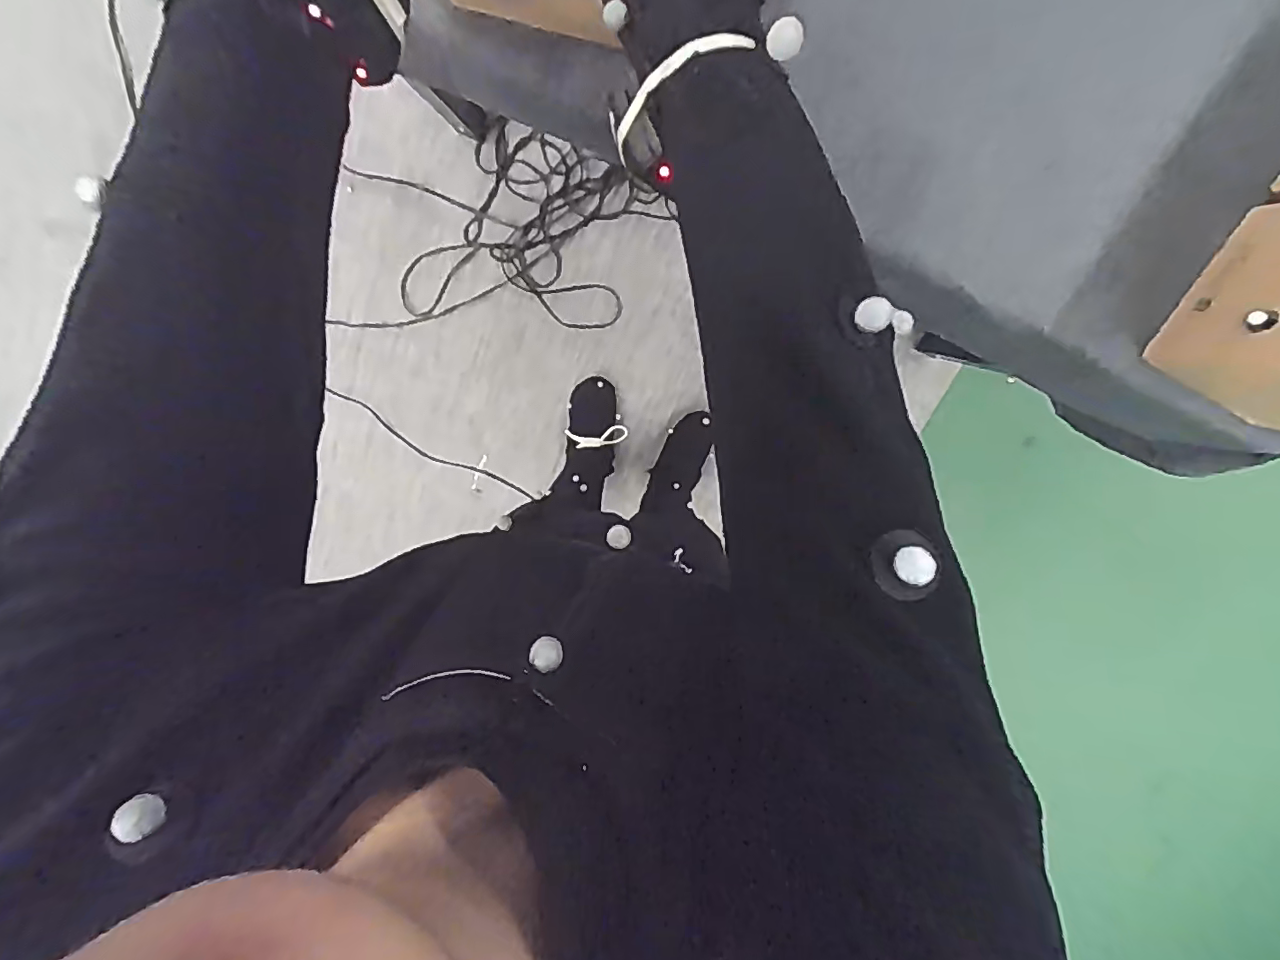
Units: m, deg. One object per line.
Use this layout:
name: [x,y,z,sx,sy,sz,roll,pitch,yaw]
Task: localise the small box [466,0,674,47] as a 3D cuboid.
small box: [-0.044,-0.421,0.349,0.179,0.176,0.168,10,109,-7]
